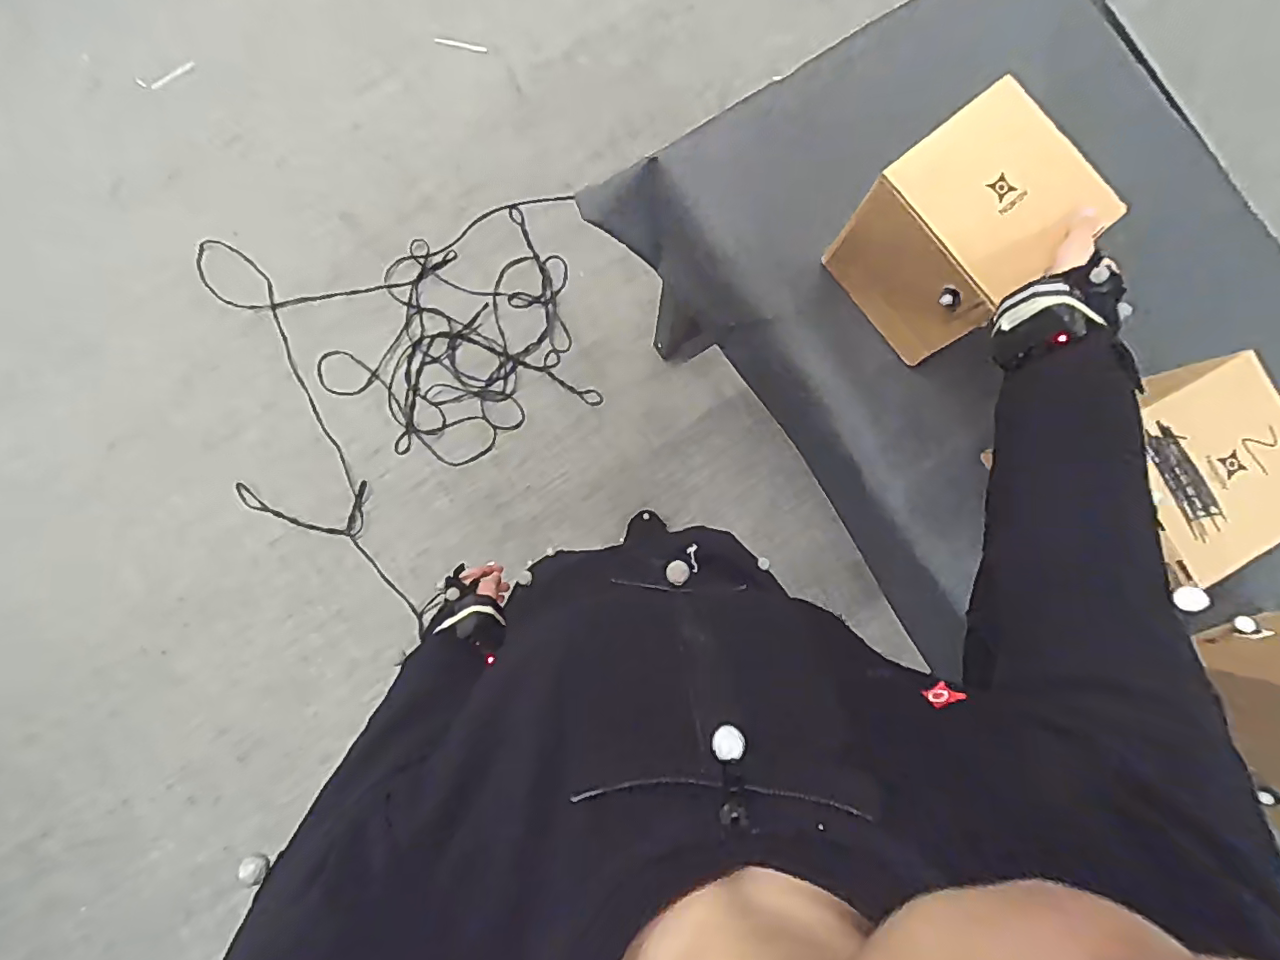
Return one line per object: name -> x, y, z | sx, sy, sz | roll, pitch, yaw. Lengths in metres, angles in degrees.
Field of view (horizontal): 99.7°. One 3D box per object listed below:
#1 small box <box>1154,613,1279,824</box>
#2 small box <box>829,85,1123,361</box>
small box -> 0.714, 0.257, 0.566 | 0.168, 0.176, 0.179 | -17, 85, -4
small box -> 0.342, -0.261, 0.592 | 0.168, 0.176, 0.179 | -38, 87, -4
